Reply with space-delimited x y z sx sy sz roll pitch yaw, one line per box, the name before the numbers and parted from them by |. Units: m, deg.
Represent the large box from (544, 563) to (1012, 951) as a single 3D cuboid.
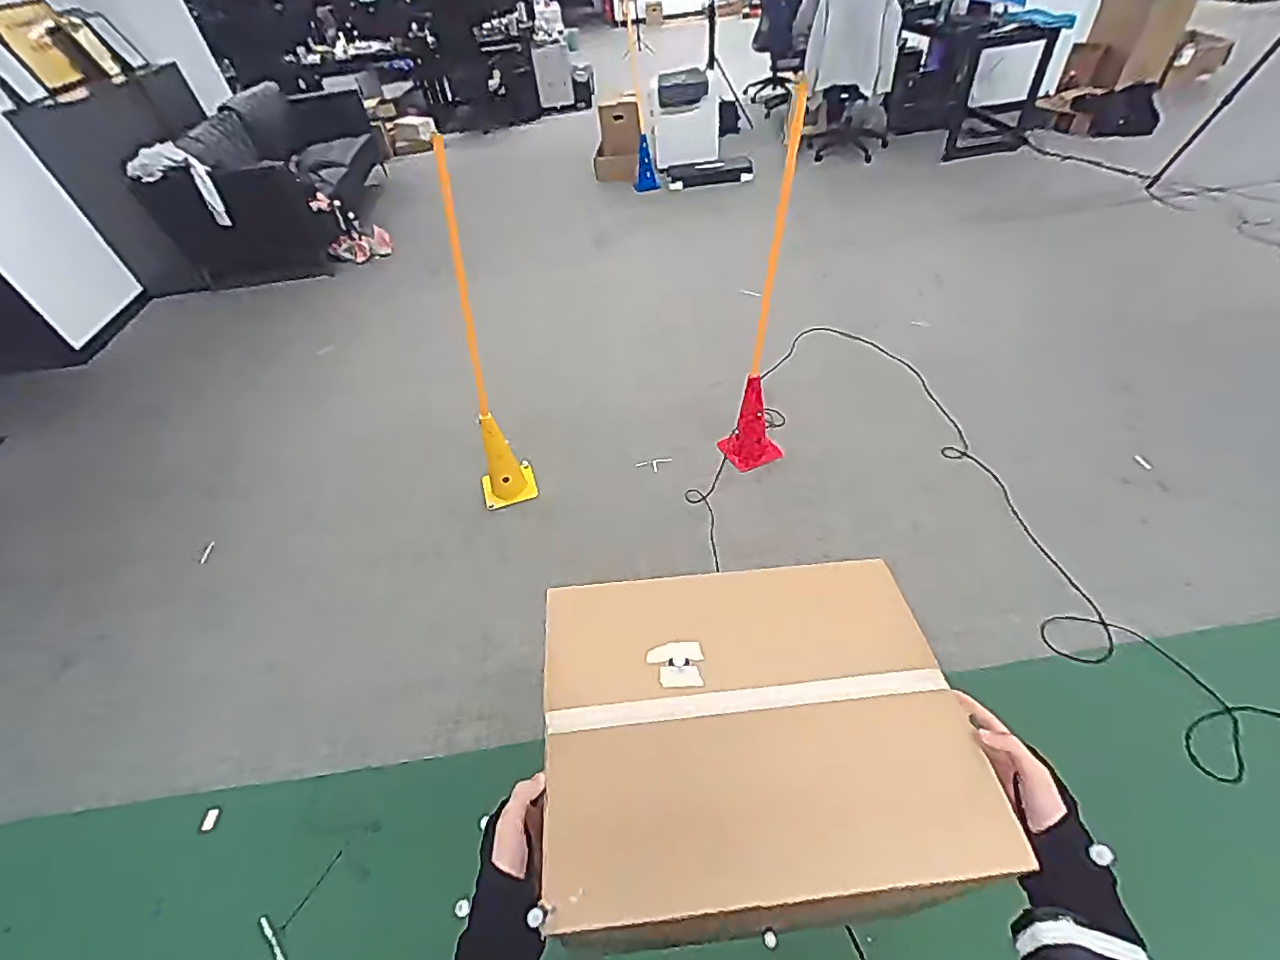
large box | 0.109 0.333 0.651 0.408 0.320 0.320 -5 46 -3
